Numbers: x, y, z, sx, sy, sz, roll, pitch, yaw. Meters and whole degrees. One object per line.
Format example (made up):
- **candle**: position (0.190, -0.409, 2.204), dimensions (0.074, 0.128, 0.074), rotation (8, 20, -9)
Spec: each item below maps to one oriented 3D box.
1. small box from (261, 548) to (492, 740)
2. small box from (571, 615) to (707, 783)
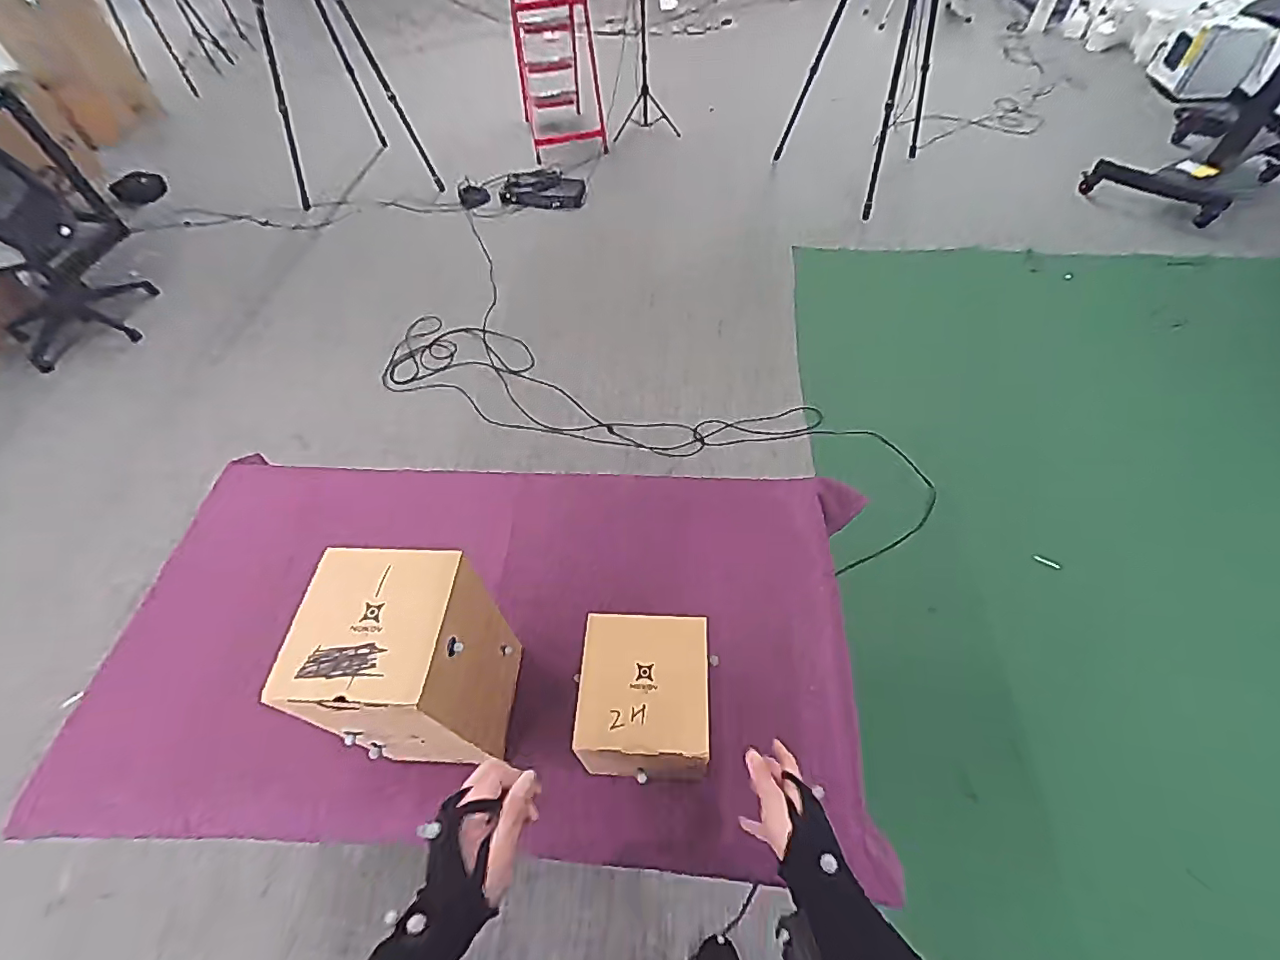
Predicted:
- **small box**: position (-0.289, 0.199, 0.645), dimensions (0.168, 0.176, 0.179), rotation (2, 53, 4)
- **small box**: position (0.006, 0.307, 0.756), dimensions (0.168, 0.176, 0.179), rotation (1, 53, 4)
